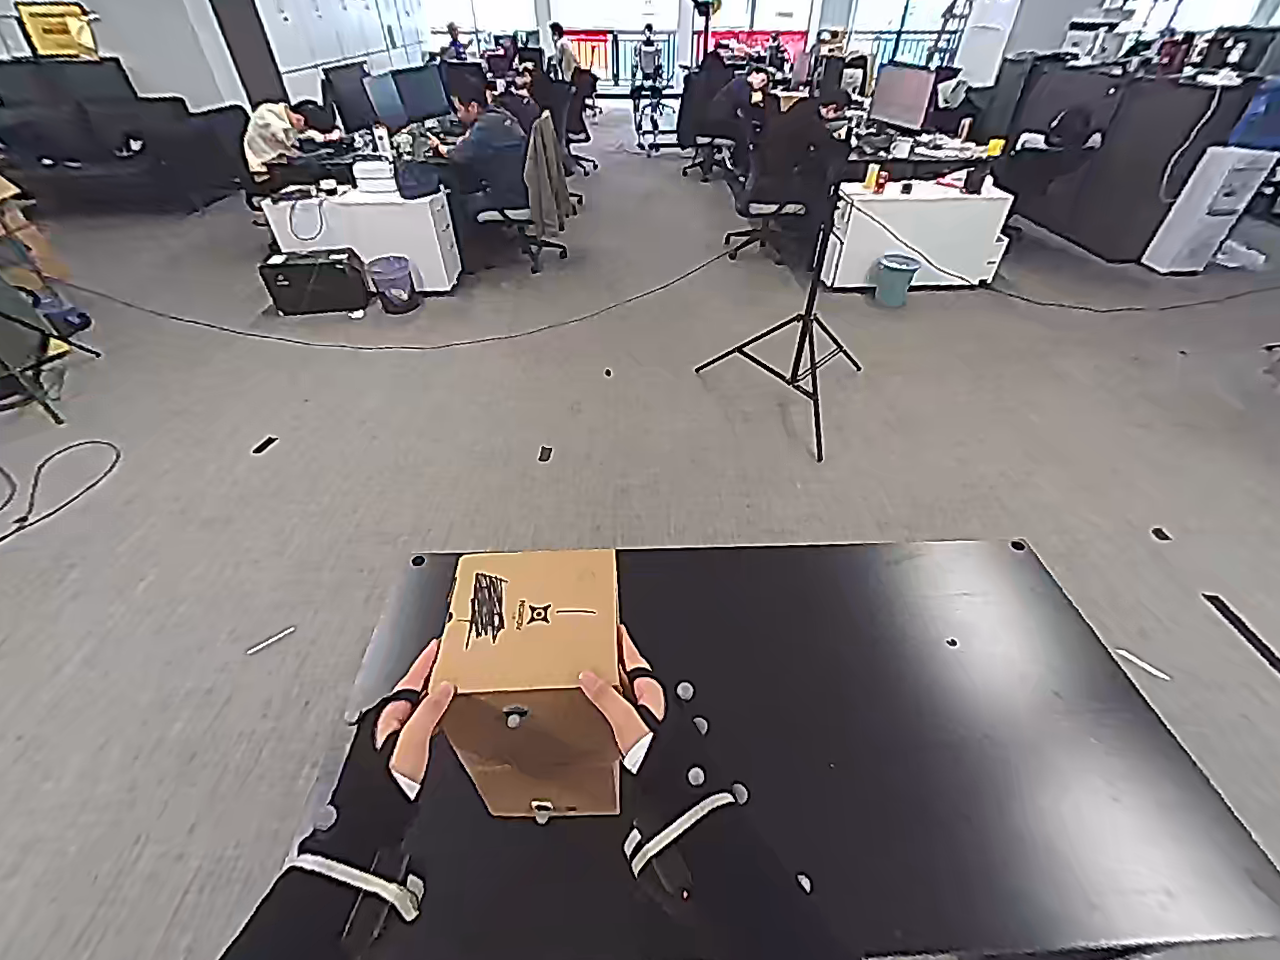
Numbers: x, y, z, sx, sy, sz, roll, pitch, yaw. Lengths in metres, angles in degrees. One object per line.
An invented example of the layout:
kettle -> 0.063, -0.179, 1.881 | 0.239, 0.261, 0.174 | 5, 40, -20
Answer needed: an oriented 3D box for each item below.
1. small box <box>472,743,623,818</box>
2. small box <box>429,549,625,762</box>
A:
small box -> -0.108, 0.319, 0.713 | 0.168, 0.176, 0.179 | -2, 42, -1
small box -> -0.108, 0.196, 0.603 | 0.179, 0.176, 0.168 | -2, 42, -2
